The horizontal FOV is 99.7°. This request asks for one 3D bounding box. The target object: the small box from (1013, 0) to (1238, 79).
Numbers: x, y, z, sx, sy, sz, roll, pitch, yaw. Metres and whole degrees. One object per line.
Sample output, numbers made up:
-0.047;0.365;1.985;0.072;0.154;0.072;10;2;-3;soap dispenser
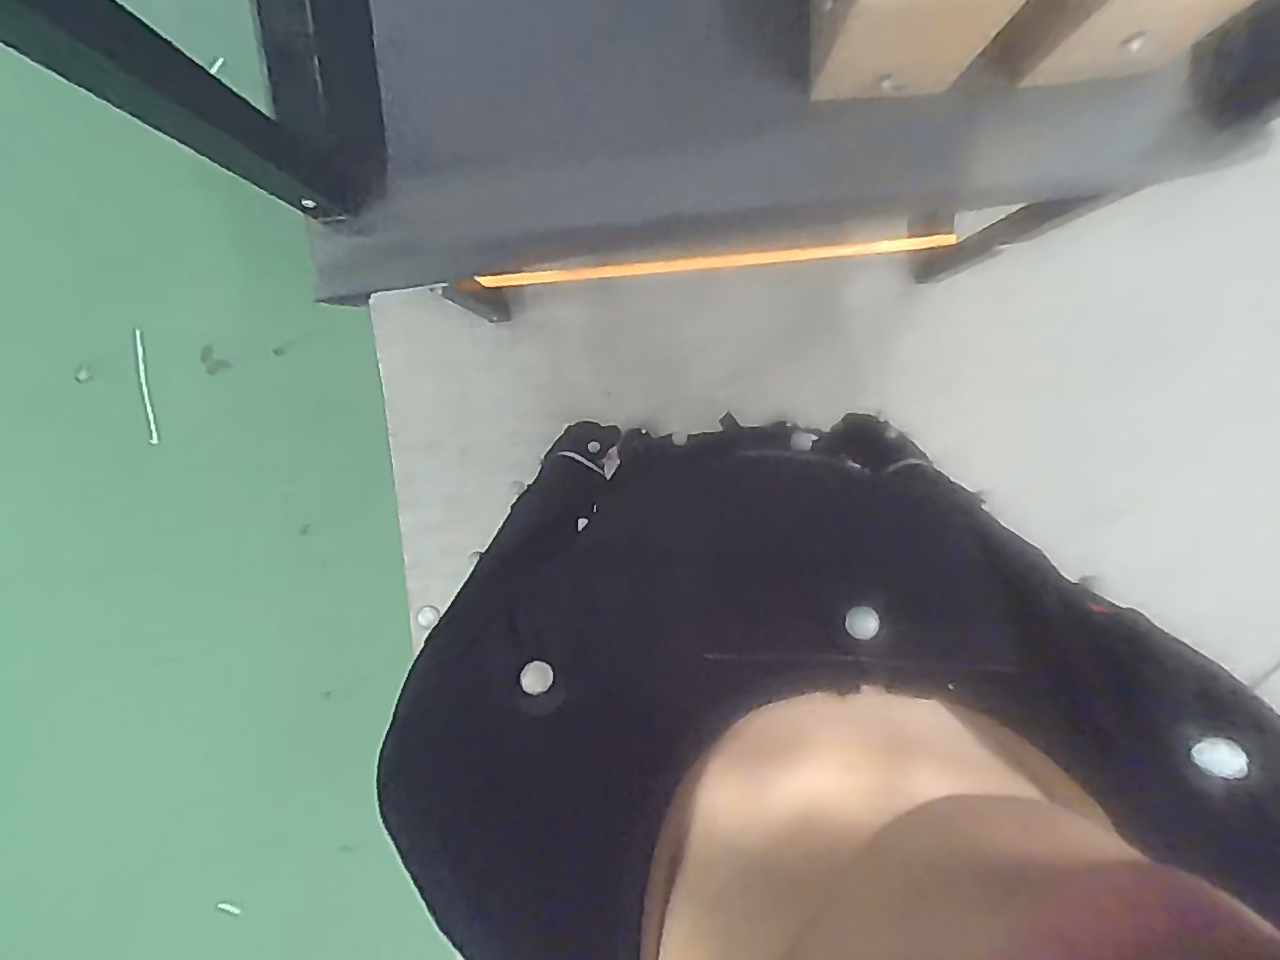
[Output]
0.532;-0.565;0.575;0.168;0.176;0.179;-5;96;2;small box
